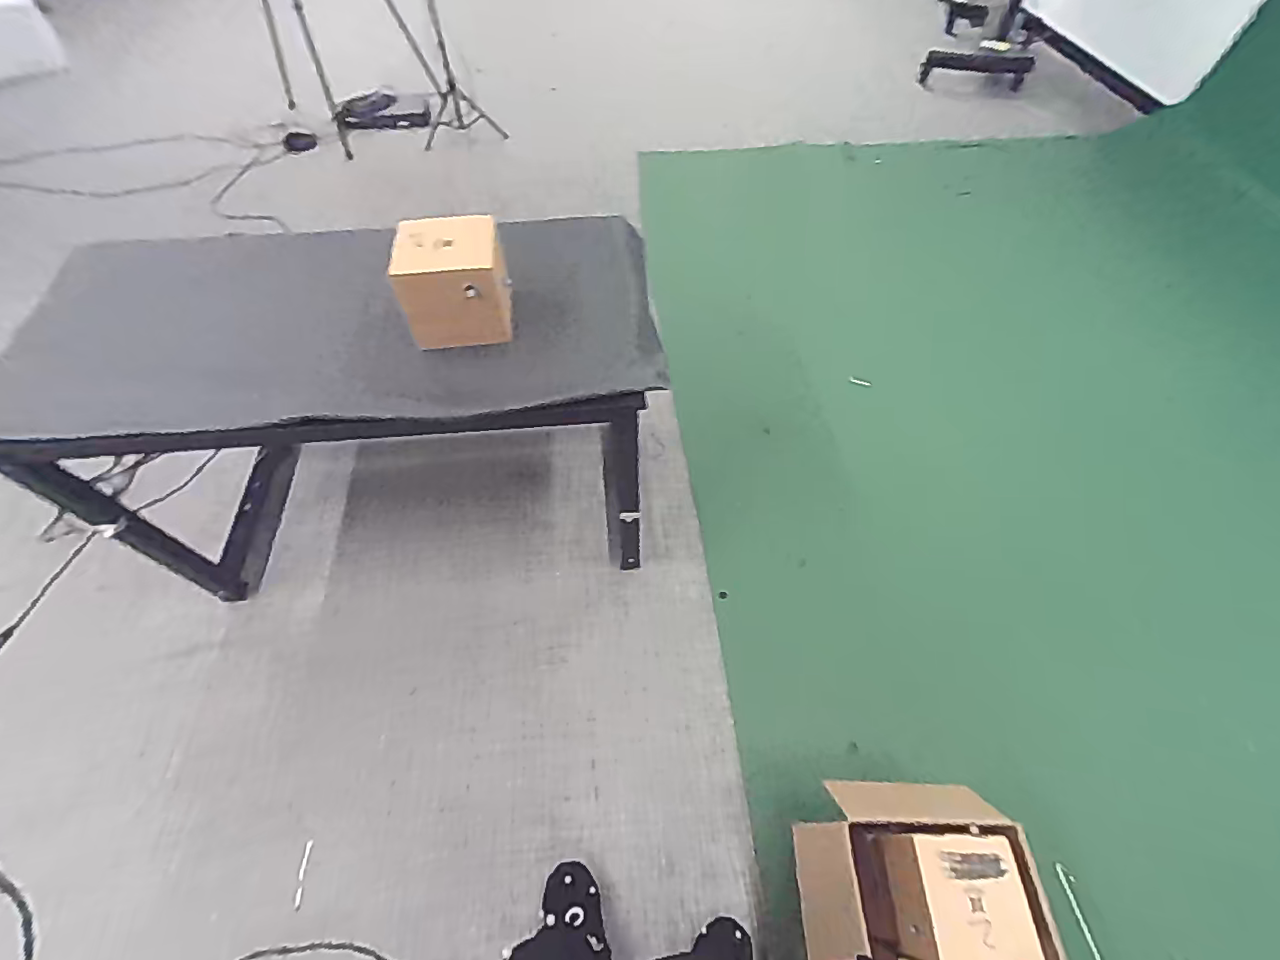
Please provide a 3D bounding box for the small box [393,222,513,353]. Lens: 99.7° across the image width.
[{"bbox_3d":[-0.340,-0.362,1.026,0.179,0.176,0.168,-6,55,-4],"label":"small box"}]
